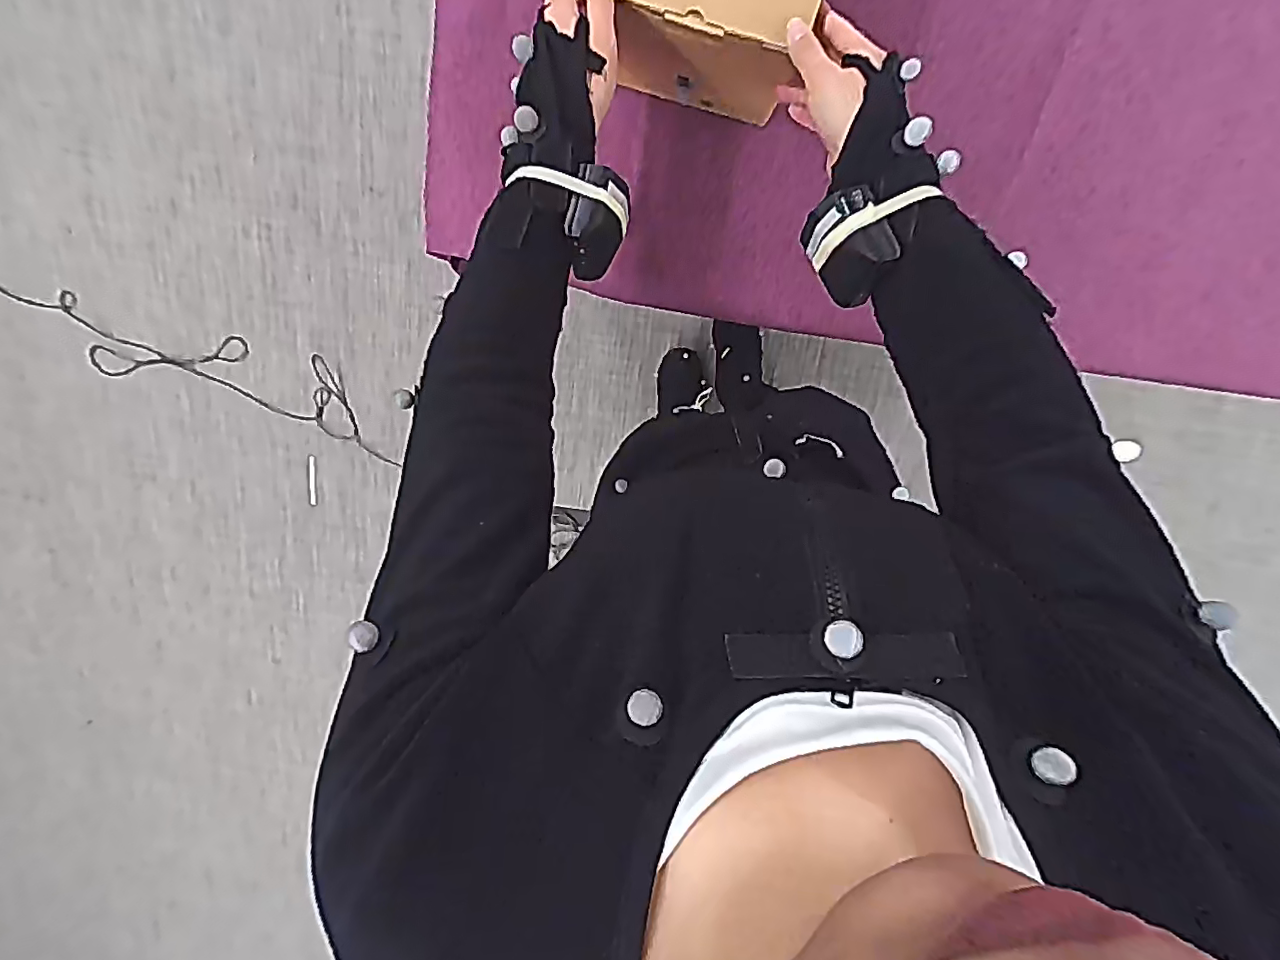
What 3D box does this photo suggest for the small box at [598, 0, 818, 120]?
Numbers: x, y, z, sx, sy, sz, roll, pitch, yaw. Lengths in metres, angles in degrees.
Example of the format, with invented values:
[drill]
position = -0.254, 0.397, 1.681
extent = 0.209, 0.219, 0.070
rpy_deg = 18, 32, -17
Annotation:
[small box]
position = 0.062, -0.431, 0.433
extent = 0.168, 0.176, 0.179
rpy_deg = 15, 108, -2
